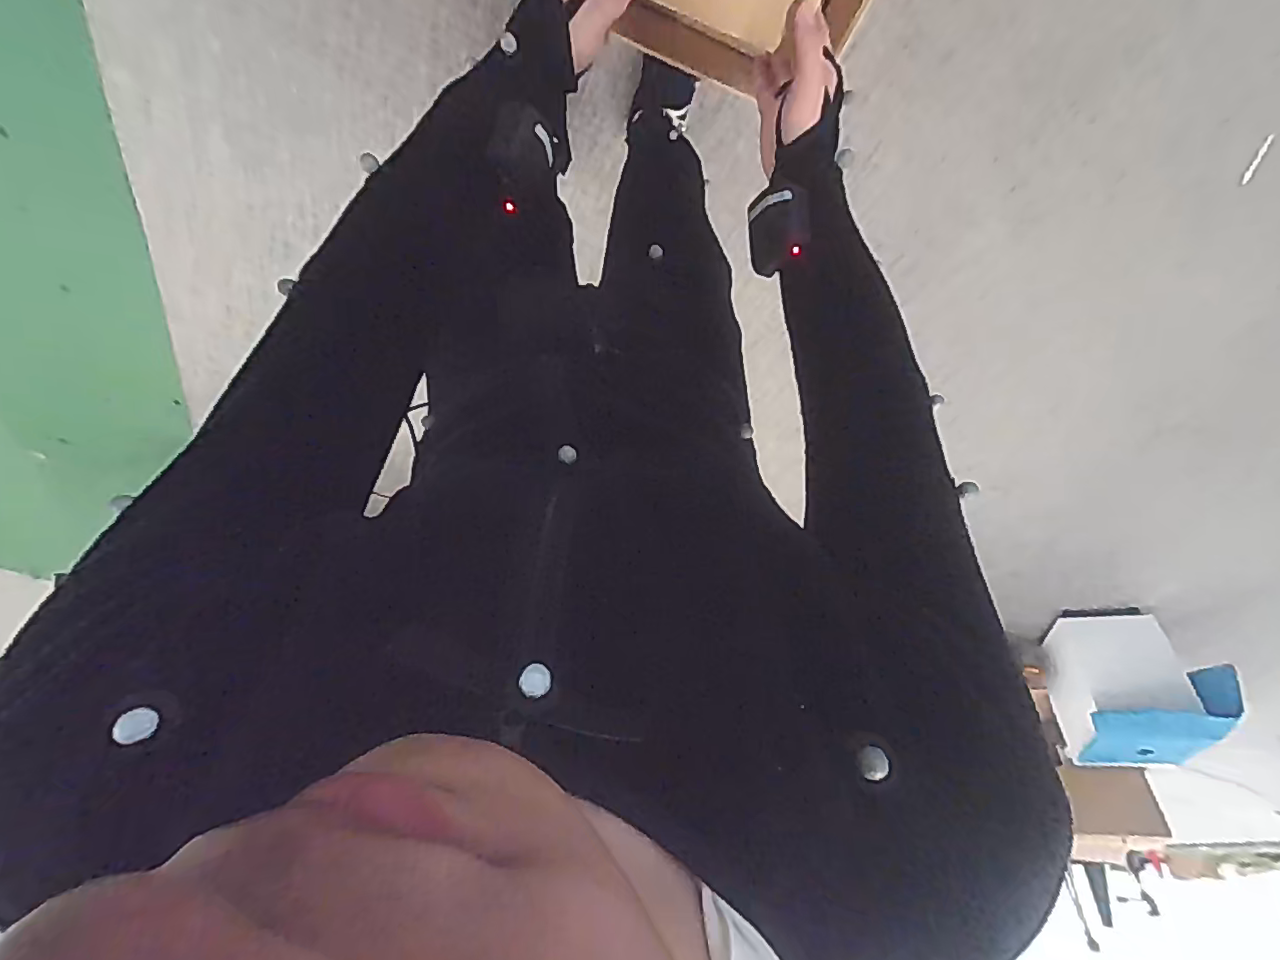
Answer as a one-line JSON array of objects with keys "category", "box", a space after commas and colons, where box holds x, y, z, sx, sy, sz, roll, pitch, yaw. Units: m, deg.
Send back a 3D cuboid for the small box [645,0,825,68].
[{"category": "small box", "box": [0.097, -0.500, 0.452, 0.168, 0.176, 0.179, 16, 140, -11]}]
